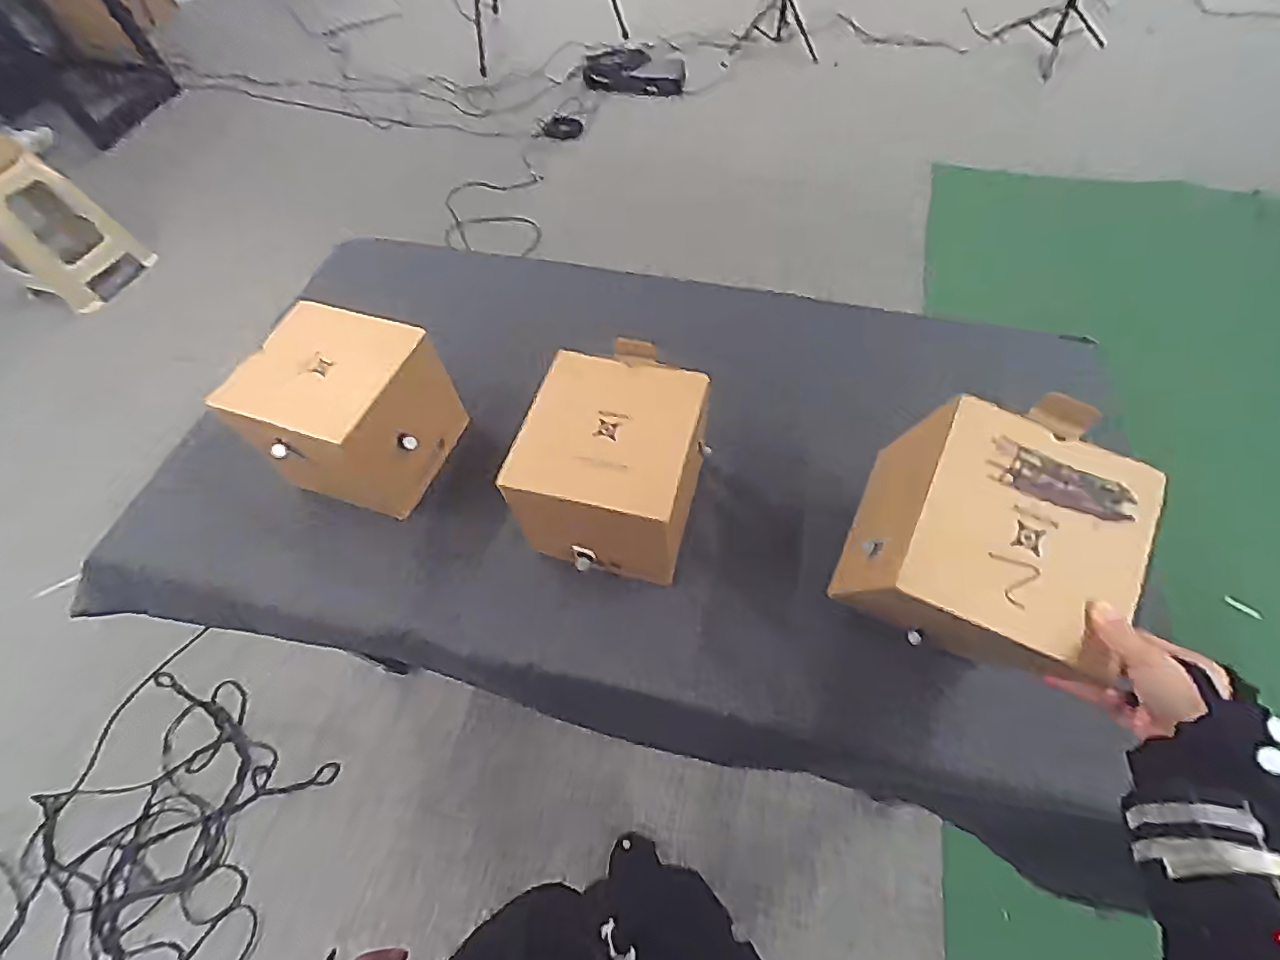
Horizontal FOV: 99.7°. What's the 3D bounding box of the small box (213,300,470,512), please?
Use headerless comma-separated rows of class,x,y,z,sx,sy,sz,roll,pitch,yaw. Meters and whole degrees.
small box,-0.334,-0.081,0.649,0.179,0.176,0.168,16,61,12

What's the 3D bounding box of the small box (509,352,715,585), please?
small box,-0.020,-0.009,0.593,0.168,0.176,0.179,11,60,10
